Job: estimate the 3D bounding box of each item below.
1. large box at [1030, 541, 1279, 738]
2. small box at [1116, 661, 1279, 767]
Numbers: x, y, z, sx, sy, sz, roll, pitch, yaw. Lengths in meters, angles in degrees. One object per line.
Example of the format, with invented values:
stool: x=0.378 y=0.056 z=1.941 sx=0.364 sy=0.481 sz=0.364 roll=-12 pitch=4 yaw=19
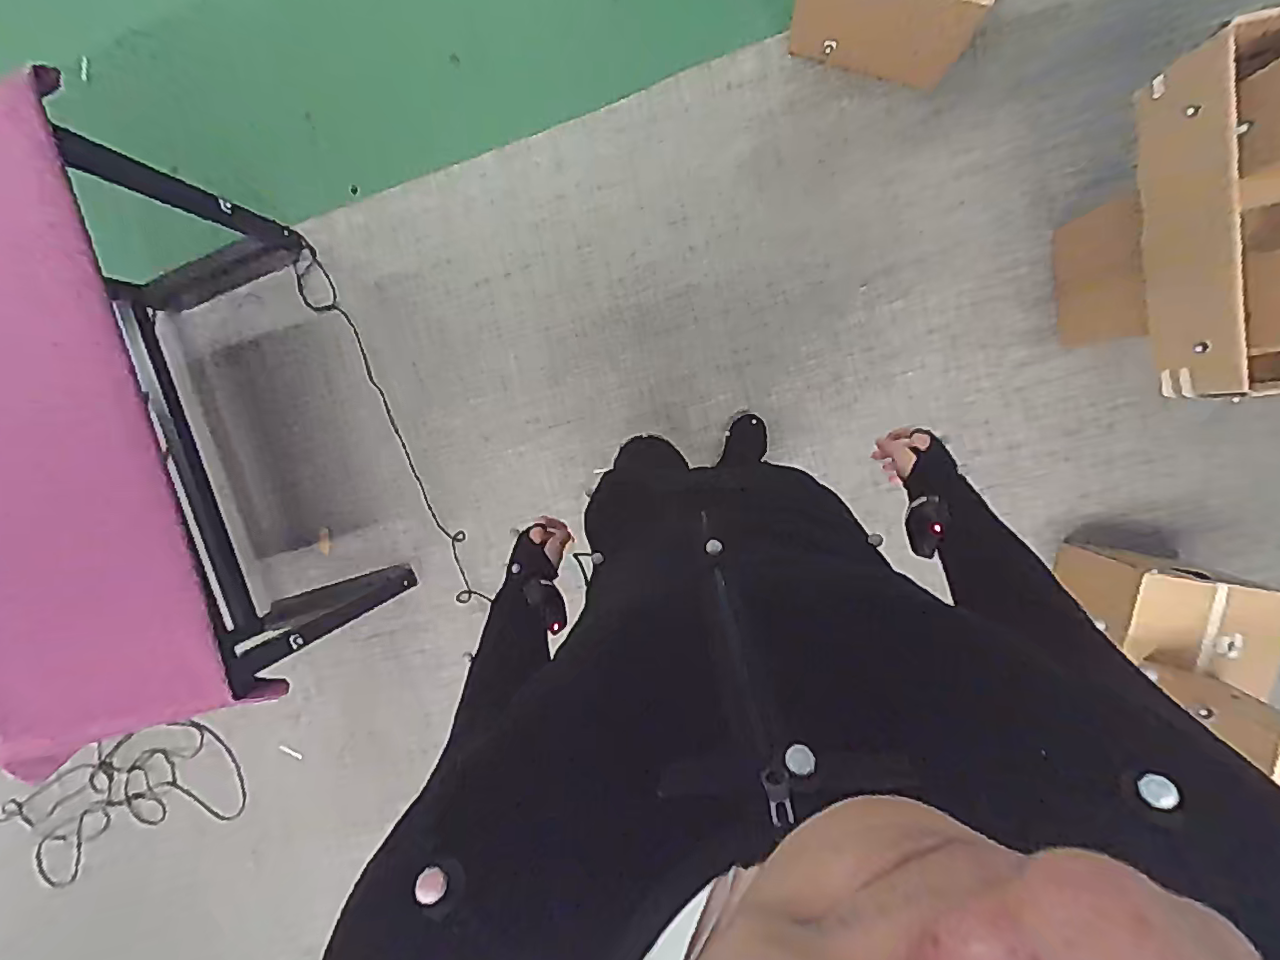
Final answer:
large box: x=1.266 y=0.400 z=1.369 sx=0.320 sy=0.320 sz=0.408 roll=8 pitch=97 yaw=6
small box: x=1.182 y=0.508 z=1.144 sx=0.179 sy=0.176 sz=0.168 roll=15 pitch=98 yaw=7
